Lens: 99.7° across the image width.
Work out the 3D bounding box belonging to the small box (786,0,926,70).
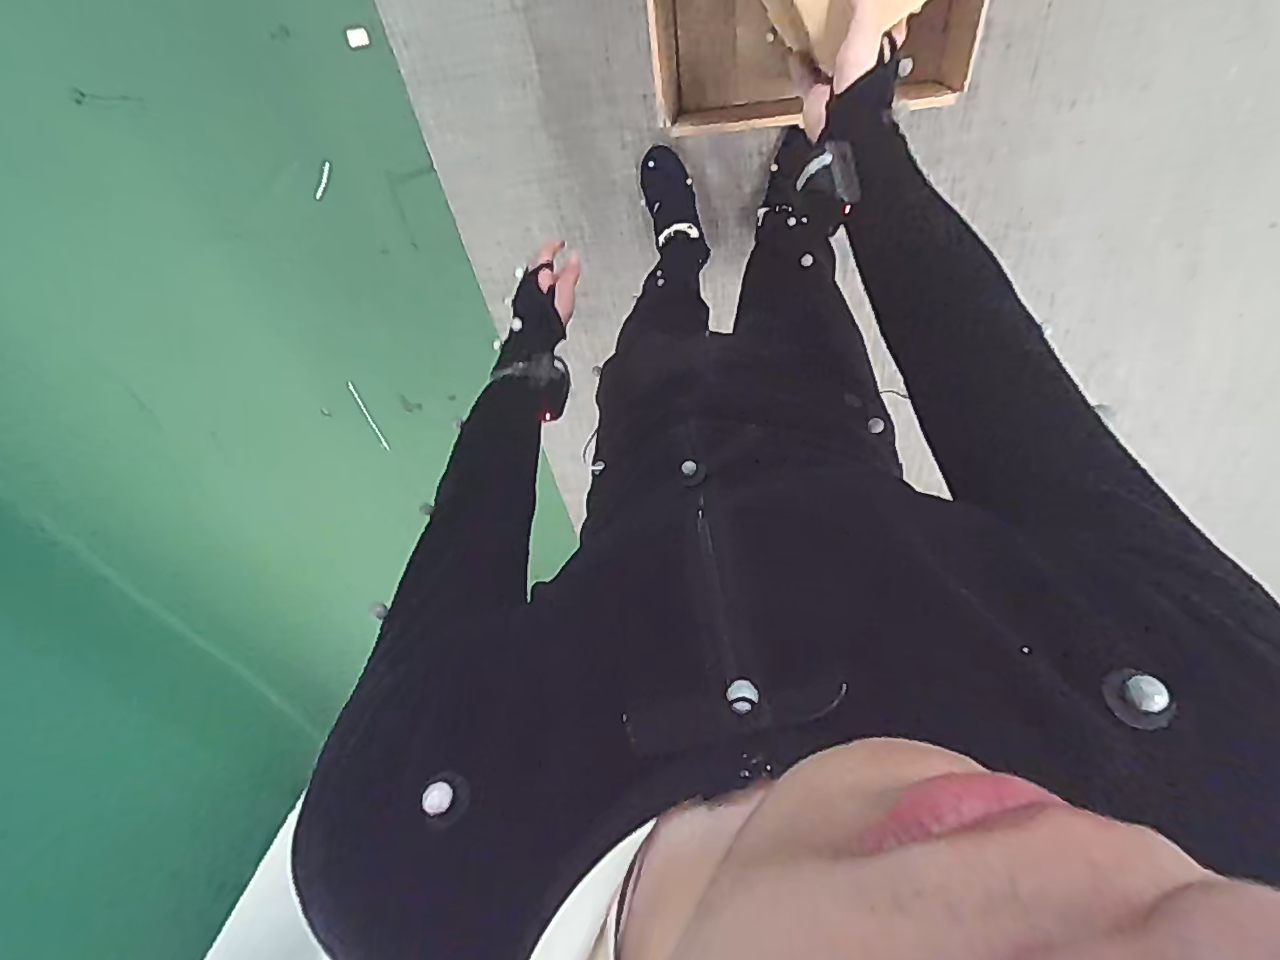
[{"bbox_3d":[0.213,-0.532,0.507,0.168,0.176,0.179,-24,118,28],"label":"small box"}]
